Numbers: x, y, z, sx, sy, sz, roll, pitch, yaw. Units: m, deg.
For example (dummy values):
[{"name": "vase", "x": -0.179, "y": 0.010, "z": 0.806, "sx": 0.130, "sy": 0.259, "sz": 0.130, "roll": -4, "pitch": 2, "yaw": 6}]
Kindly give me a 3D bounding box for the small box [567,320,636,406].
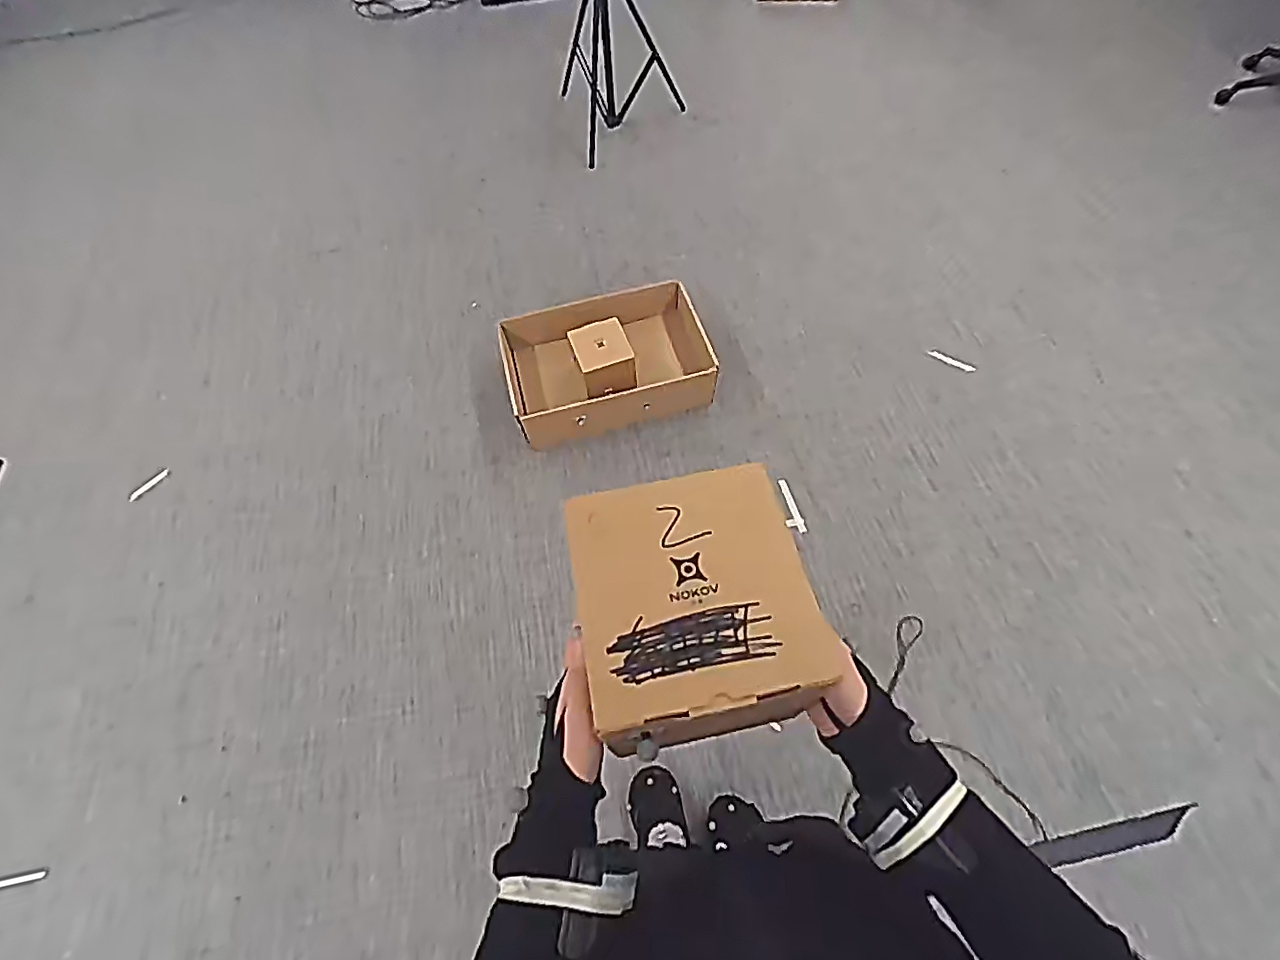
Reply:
[{"name": "small box", "x": -0.117, "y": -0.363, "z": 1.699, "sx": 0.168, "sy": 0.176, "sz": 0.179, "roll": -20, "pitch": 64, "yaw": -7}]
